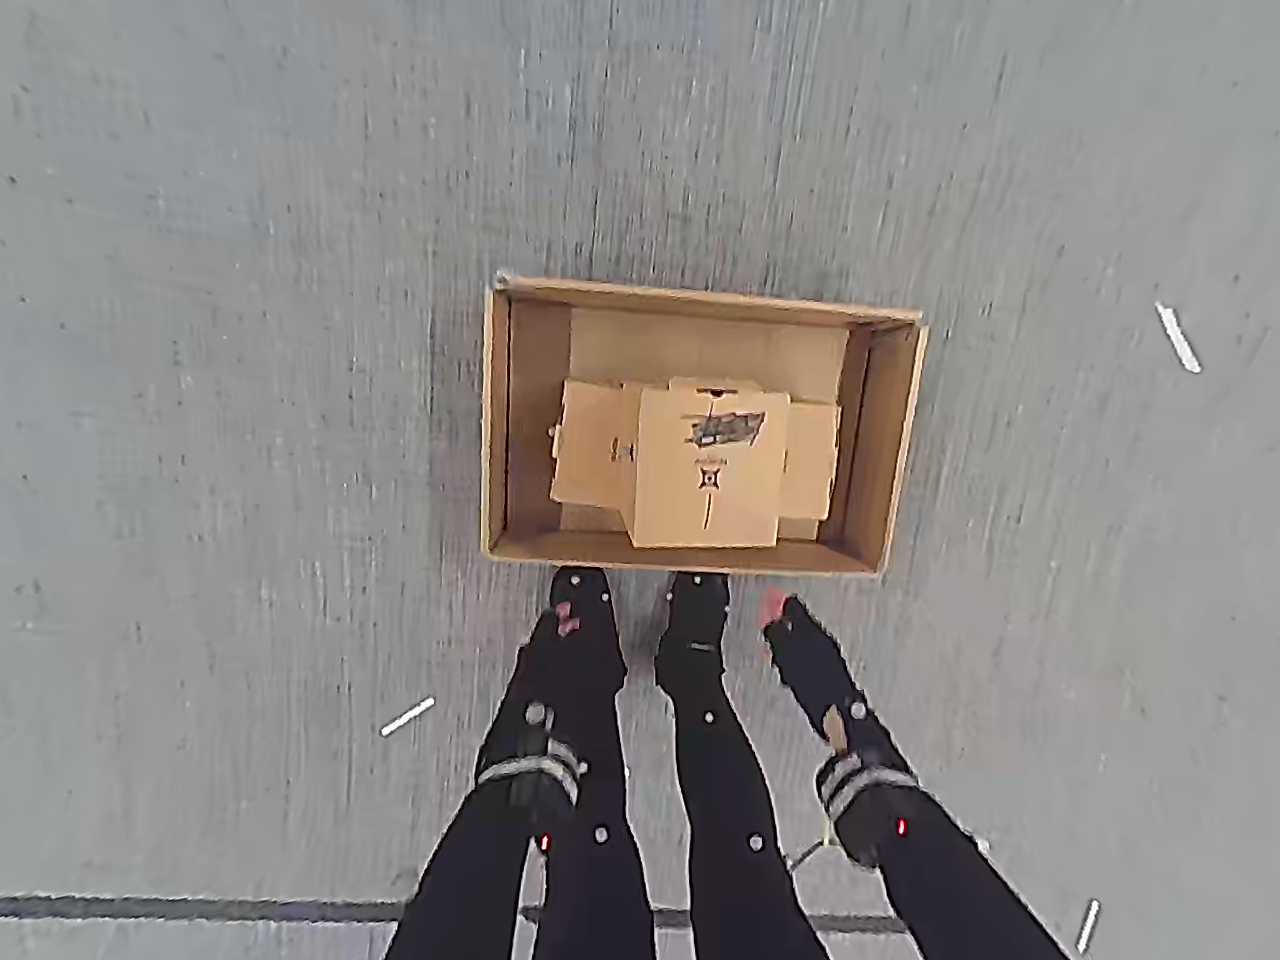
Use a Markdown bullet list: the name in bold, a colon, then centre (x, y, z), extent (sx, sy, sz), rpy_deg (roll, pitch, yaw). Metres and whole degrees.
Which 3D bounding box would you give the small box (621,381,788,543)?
- **small box**: centre (0.066, -0.030, 0.666), extent (0.168, 0.176, 0.179), rpy_deg (1, 102, -7)
